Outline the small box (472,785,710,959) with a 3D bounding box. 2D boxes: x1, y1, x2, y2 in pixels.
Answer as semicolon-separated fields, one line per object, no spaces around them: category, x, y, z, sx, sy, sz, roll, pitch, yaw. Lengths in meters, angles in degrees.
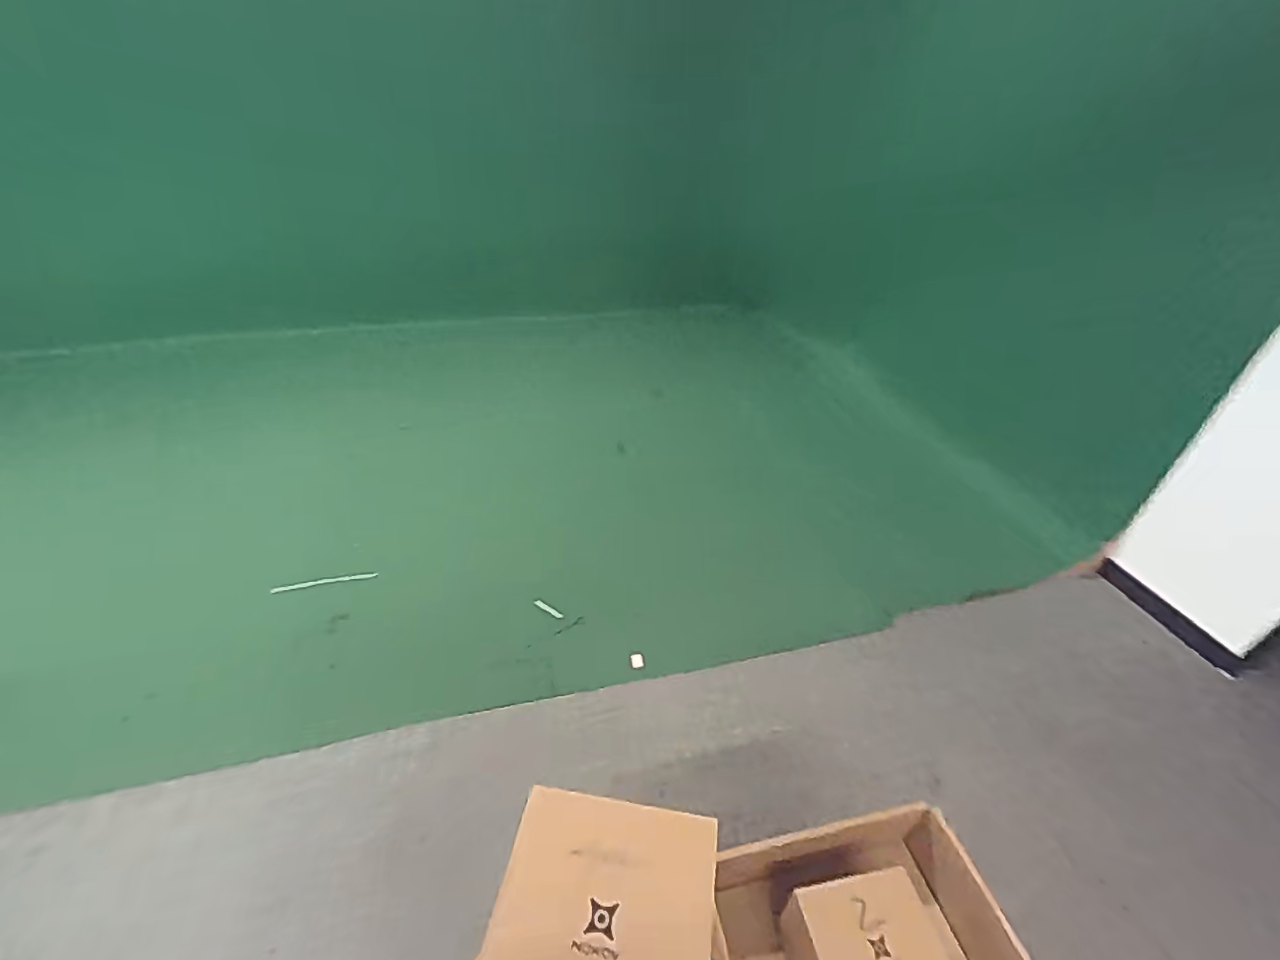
small box;-0.032;0.395;0.453;0.168;0.176;0.179;5;39;8
